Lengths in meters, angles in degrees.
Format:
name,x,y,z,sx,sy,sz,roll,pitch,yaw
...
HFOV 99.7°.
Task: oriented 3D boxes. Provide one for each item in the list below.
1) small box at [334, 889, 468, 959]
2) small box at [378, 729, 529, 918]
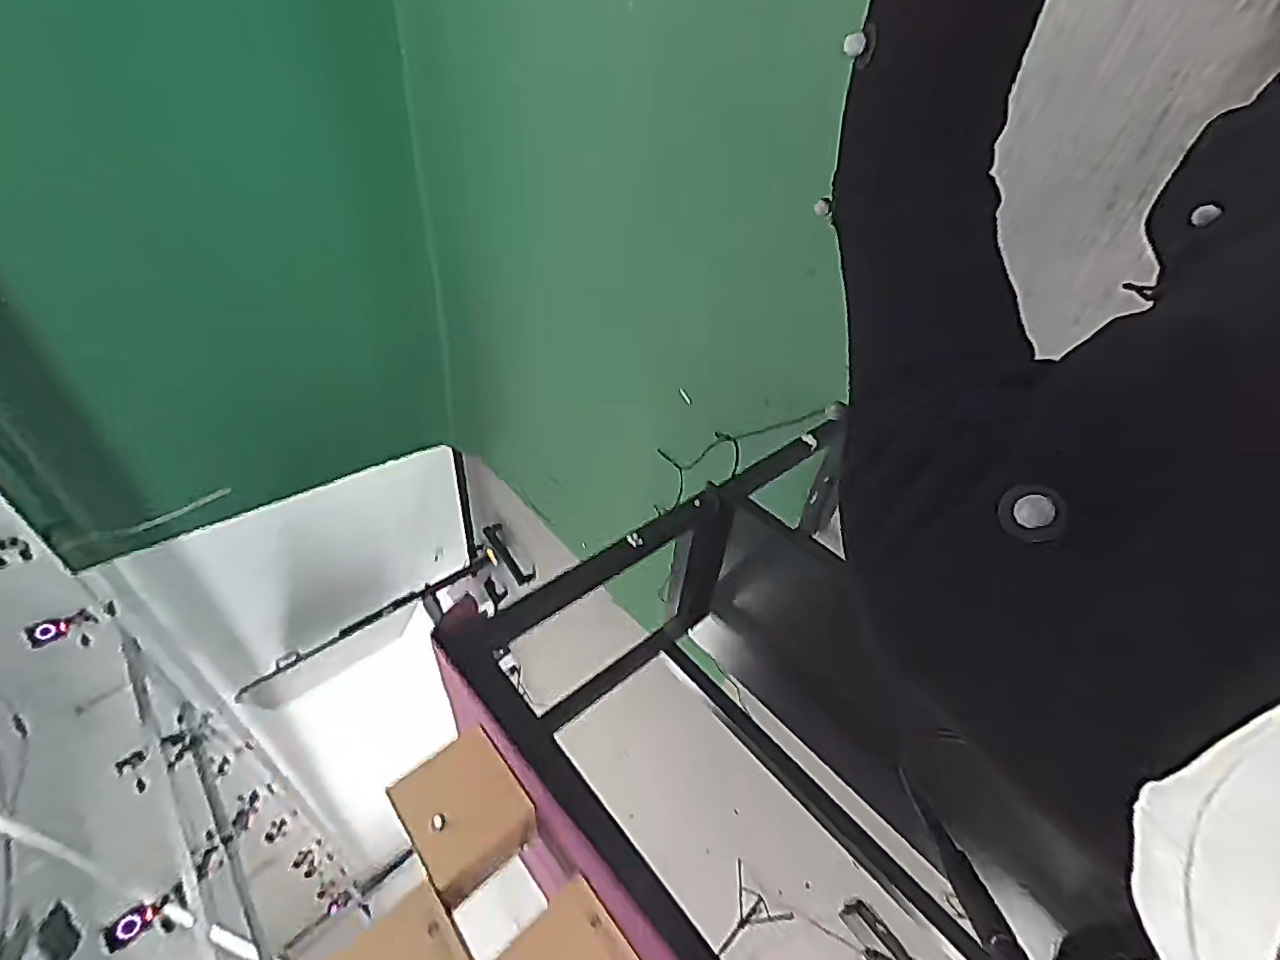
name,x,y,z,sx,sy,sz,roll,pitch,yaw
small box,-0.318,0.699,0.723,0.168,0.176,0.179,38,140,32
small box,-0.294,0.555,0.887,0.179,0.176,0.168,39,140,31
